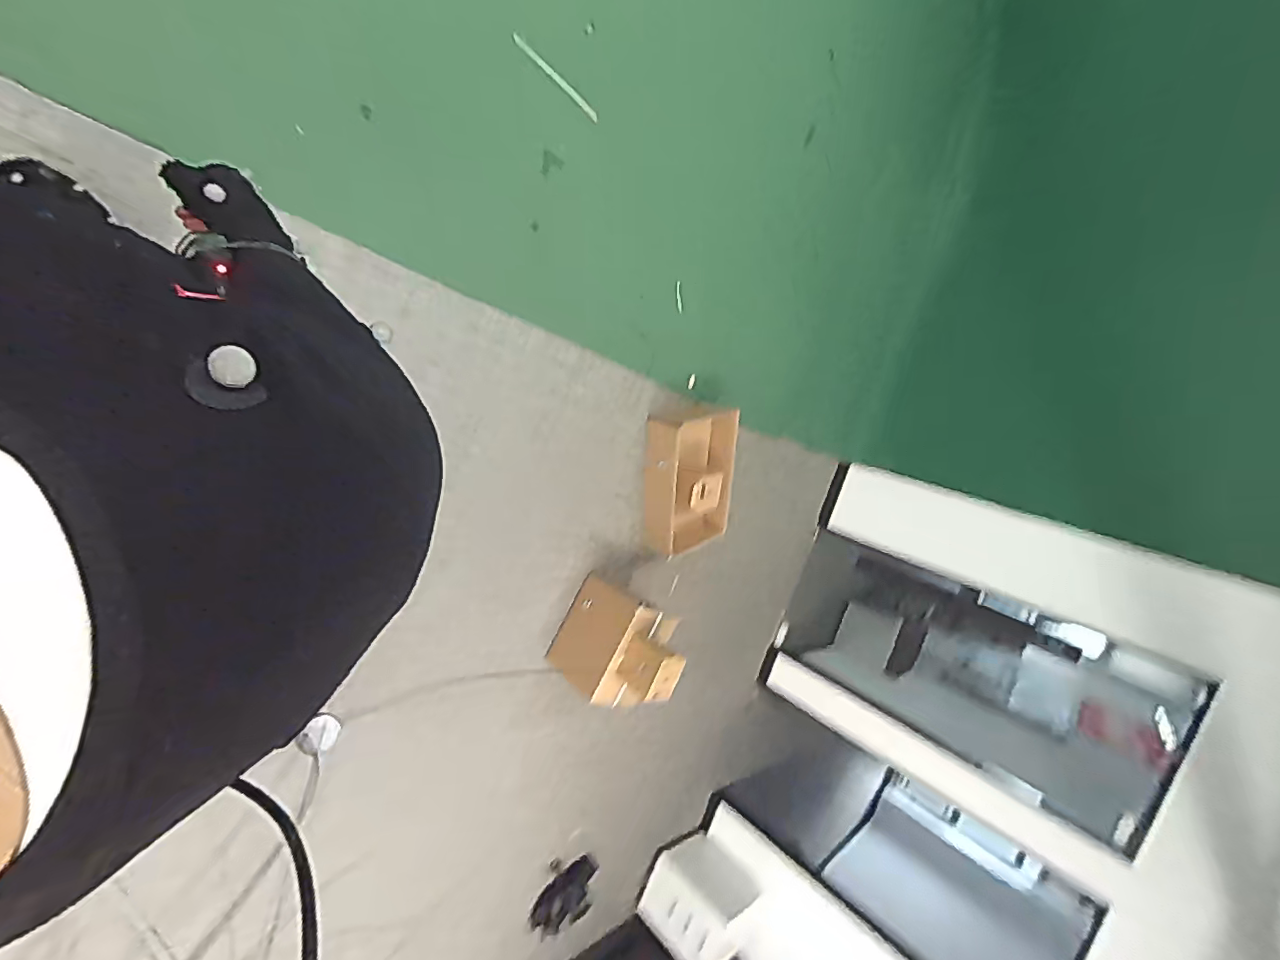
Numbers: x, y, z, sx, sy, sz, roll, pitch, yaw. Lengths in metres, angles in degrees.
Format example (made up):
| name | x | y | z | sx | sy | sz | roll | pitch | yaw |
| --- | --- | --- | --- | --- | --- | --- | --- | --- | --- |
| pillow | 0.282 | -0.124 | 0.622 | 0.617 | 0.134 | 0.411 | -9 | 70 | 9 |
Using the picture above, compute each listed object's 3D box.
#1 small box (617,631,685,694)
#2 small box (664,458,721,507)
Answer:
| name | x | y | z | sx | sy | sz | roll | pitch | yaw |
| --- | --- | --- | --- | --- | --- | --- | --- | --- | --- |
| small box | 0.039 | 0.703 | 2.097 | 0.168 | 0.176 | 0.179 | 24 | 90 | -49 |
| small box | 0.228 | 0.008 | 2.376 | 0.179 | 0.176 | 0.168 | -11 | 115 | -46 |
